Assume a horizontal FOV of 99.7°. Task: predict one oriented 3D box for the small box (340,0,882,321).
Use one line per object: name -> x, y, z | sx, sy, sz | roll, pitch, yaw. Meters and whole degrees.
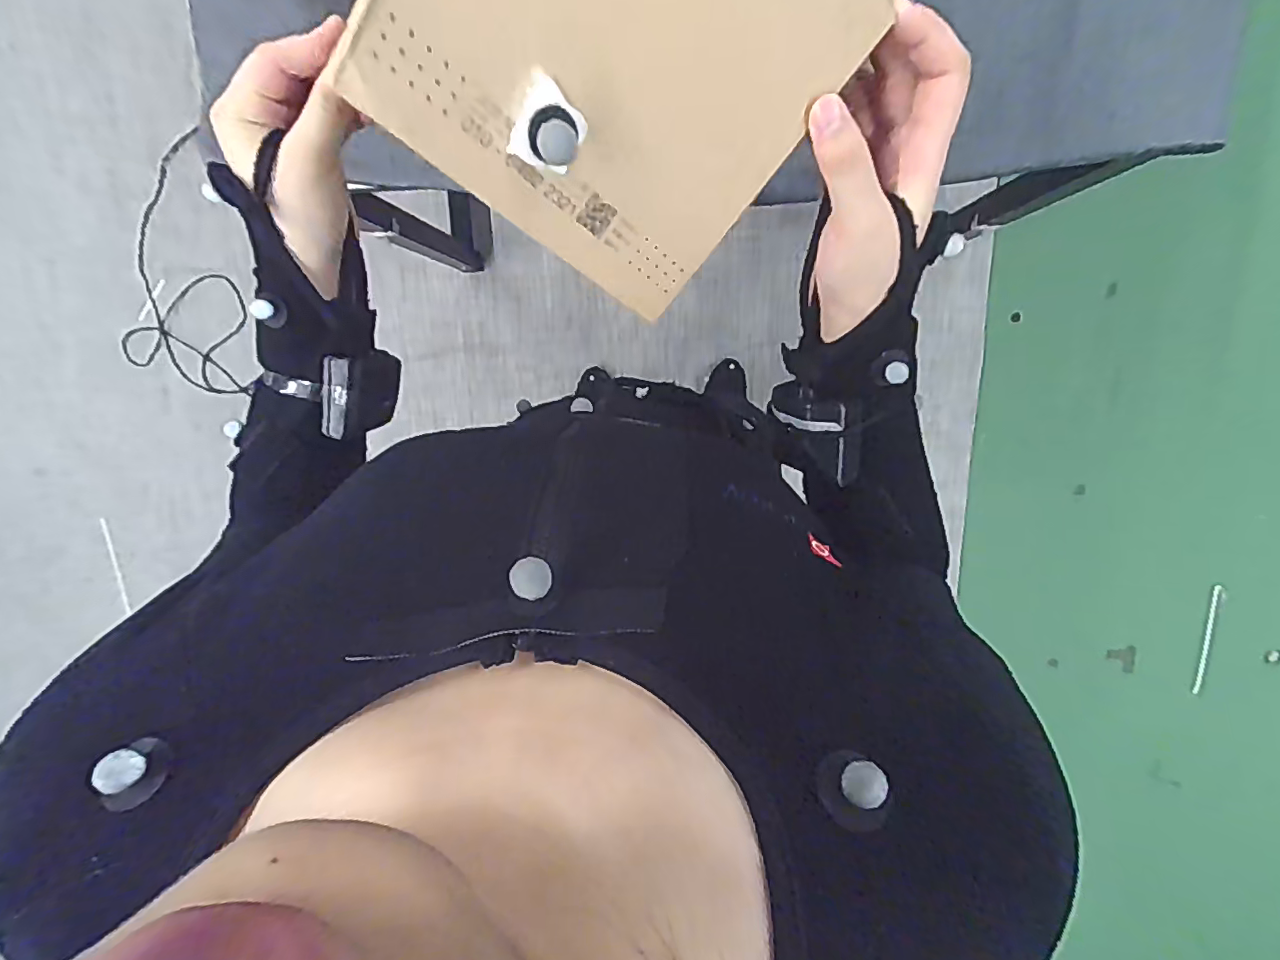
small box -> -0.030, -0.216, 0.268 | 0.168, 0.179, 0.176 | 21, 120, -41
